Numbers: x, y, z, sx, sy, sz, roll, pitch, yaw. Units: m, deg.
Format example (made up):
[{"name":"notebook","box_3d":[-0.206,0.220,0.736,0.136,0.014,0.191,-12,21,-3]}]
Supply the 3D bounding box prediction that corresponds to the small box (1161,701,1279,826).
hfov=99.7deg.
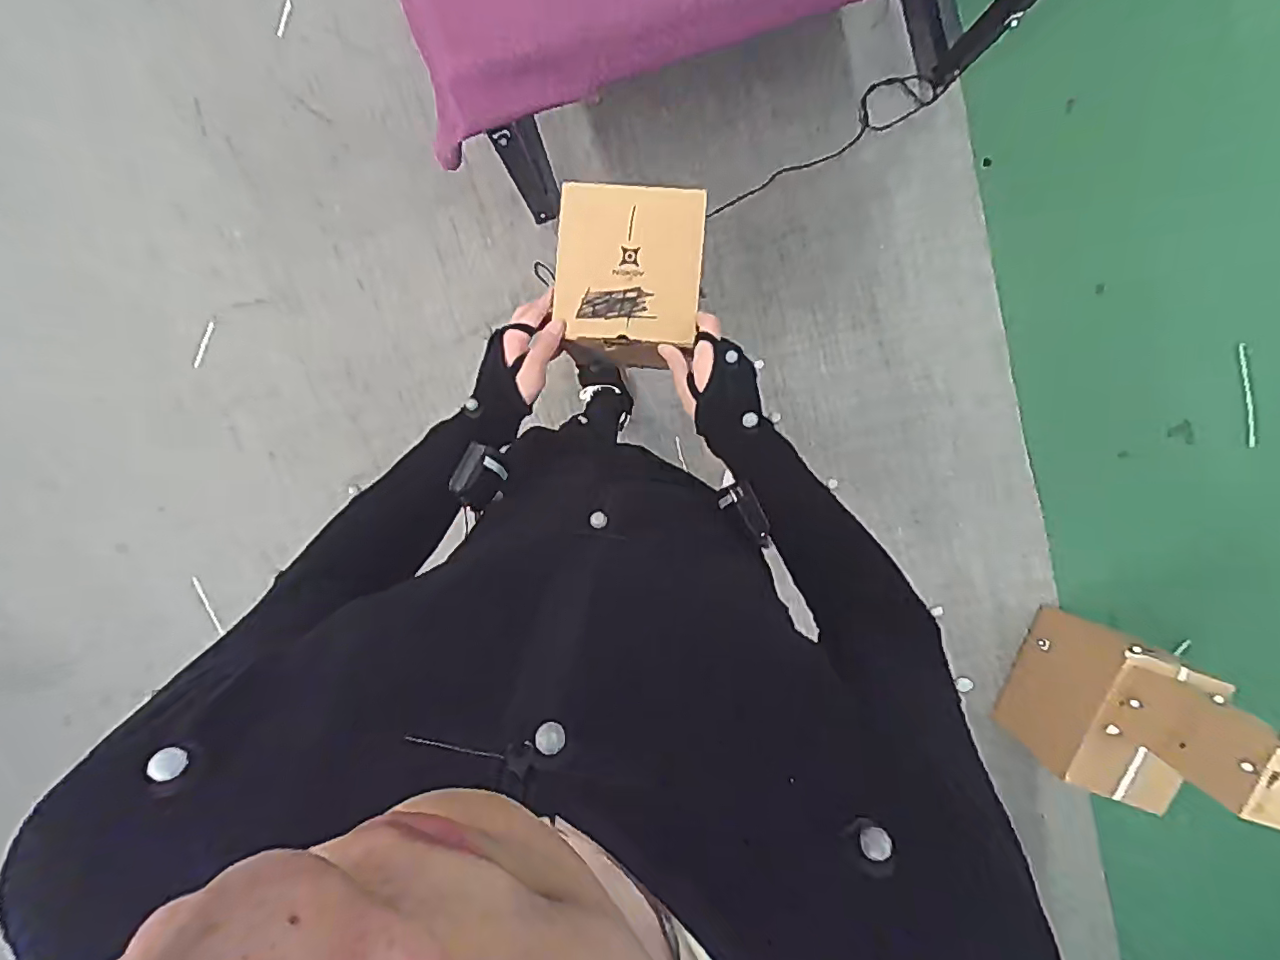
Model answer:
[{"name":"small box","box_3d":[1.313,0.611,1.171,0.179,0.176,0.168,17,99,-4]}]

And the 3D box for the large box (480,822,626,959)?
[{"name":"large box","box_3d":[-0.259,1.321,1.678,0.408,0.320,0.320,6,100,-3]}]

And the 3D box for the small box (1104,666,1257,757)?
[{"name":"small box","box_3d":[1.322,0.585,1.332,0.179,0.176,0.168,18,99,-3]}]

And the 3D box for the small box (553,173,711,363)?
[{"name":"small box","box_3d":[-0.005,-0.251,0.680,0.168,0.176,0.179,5,91,2]}]
